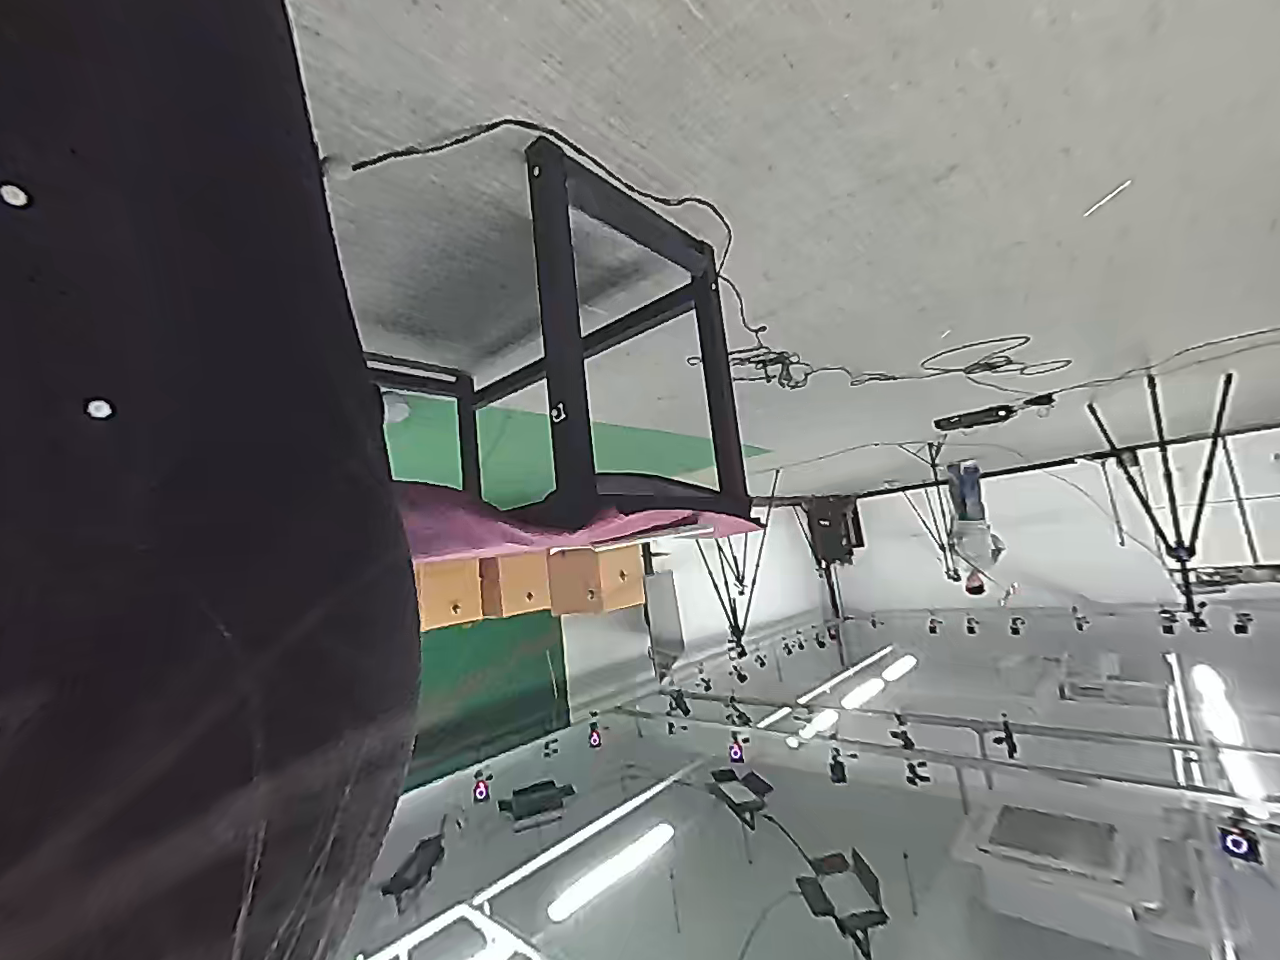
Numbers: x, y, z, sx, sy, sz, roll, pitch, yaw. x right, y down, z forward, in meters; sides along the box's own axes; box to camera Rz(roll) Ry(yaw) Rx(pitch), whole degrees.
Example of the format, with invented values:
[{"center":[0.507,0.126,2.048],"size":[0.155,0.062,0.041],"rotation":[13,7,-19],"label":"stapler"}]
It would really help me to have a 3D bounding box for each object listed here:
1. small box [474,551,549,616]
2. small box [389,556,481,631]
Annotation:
[{"center":[-0.391,0.304,1.599],"size":[0.168,0.176,0.179],"rotation":[-13,169,38],"label":"small box"},{"center":[-0.549,0.299,1.440],"size":[0.168,0.176,0.179],"rotation":[-14,169,36],"label":"small box"}]
